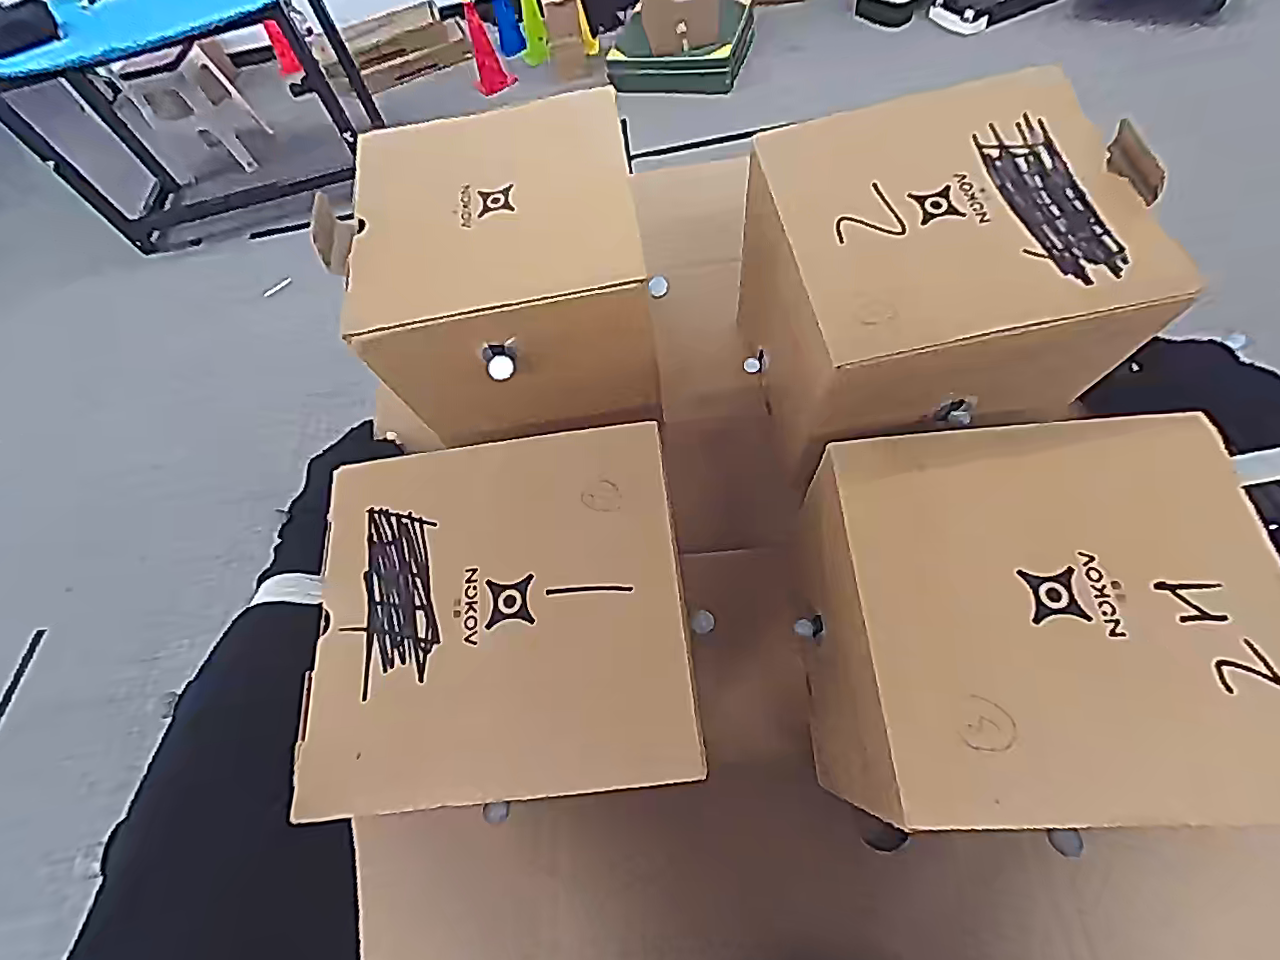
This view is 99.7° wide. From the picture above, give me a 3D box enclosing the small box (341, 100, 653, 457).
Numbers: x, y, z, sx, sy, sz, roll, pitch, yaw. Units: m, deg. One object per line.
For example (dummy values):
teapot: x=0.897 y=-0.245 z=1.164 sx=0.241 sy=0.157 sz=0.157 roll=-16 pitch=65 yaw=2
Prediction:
small box: x=-0.087 y=-0.133 z=0.406 sx=0.179 sy=0.176 sz=0.168 roll=-10 pitch=67 yaw=4
